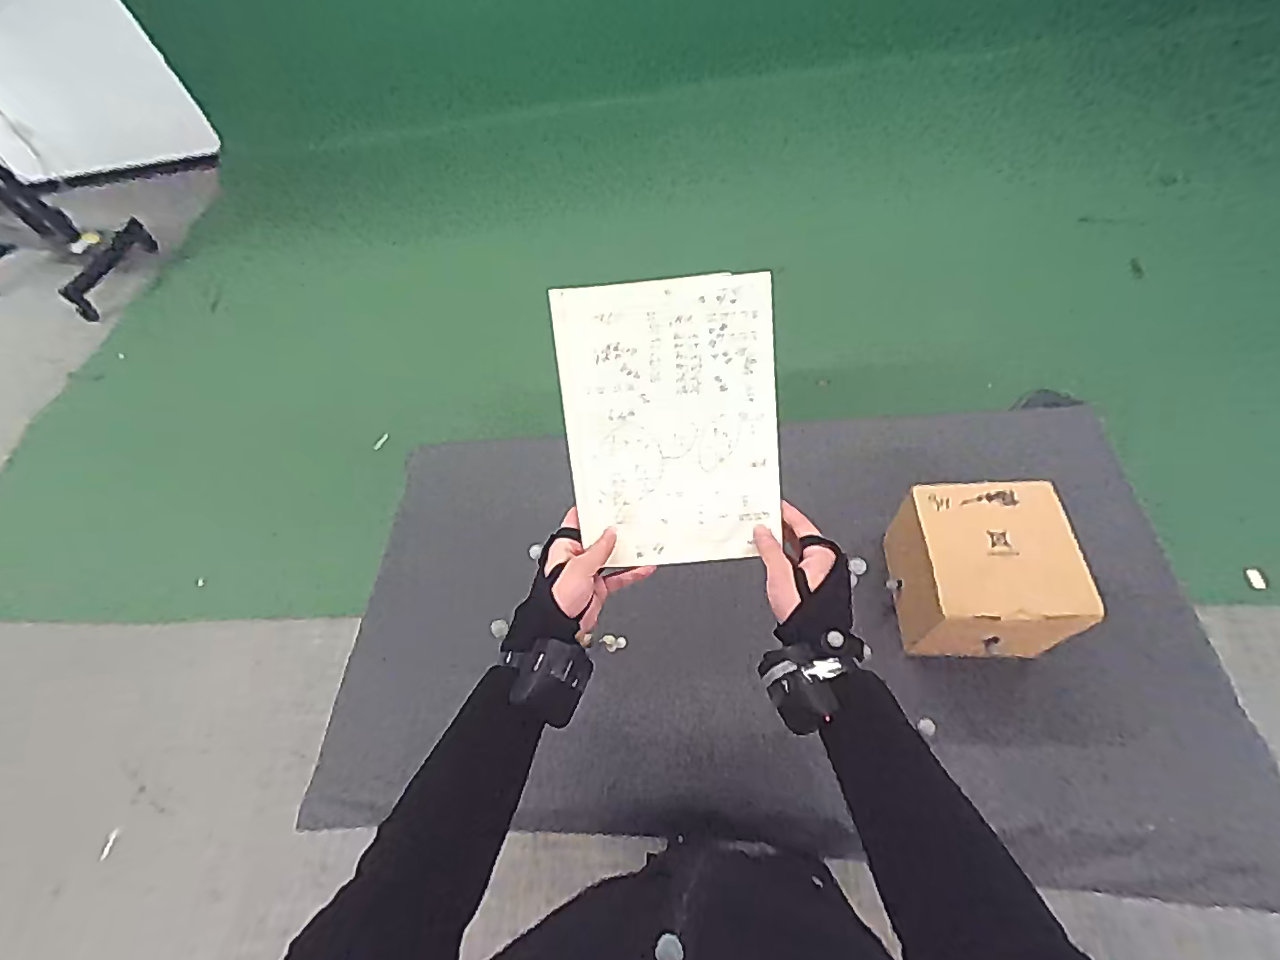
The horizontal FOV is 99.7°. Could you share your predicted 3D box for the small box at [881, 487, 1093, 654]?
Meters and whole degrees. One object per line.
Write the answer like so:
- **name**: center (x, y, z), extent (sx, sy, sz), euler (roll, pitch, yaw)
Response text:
- **small box**: center (0.434, 0.127, 0.713), extent (0.168, 0.176, 0.179), euler (-2, 59, 8)
